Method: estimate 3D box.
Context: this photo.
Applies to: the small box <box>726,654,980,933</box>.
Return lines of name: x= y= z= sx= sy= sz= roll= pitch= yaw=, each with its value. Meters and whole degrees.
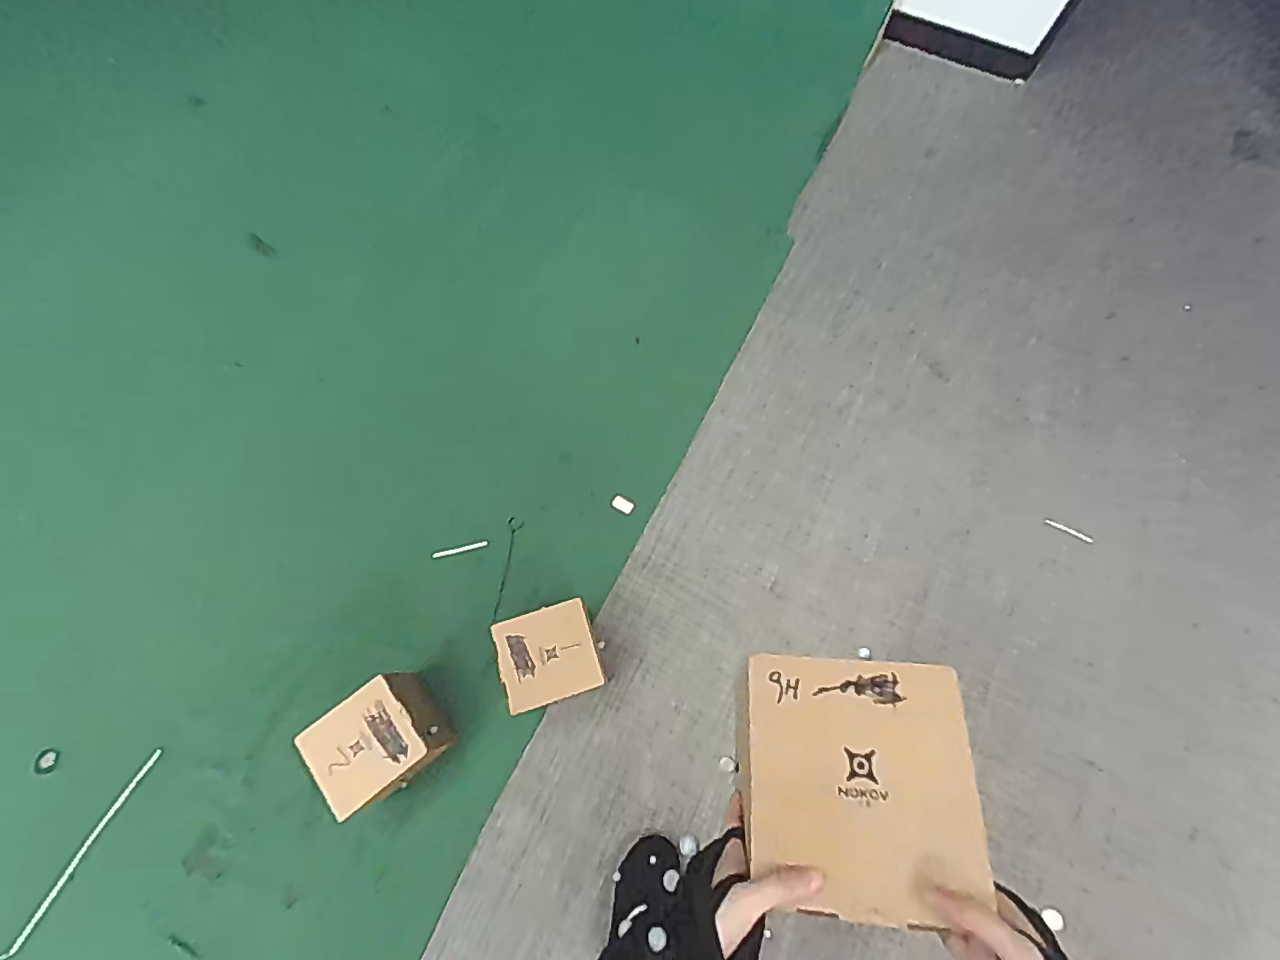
small box: x=0.166 y=0.263 z=0.485 sx=0.168 sy=0.176 sz=0.179 roll=2 pitch=63 yaw=6

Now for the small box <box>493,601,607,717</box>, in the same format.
small box: x=-0.170 y=0.353 z=1.063 sx=0.179 sy=0.176 sz=0.168 roll=-17 pitch=71 yaw=-8
